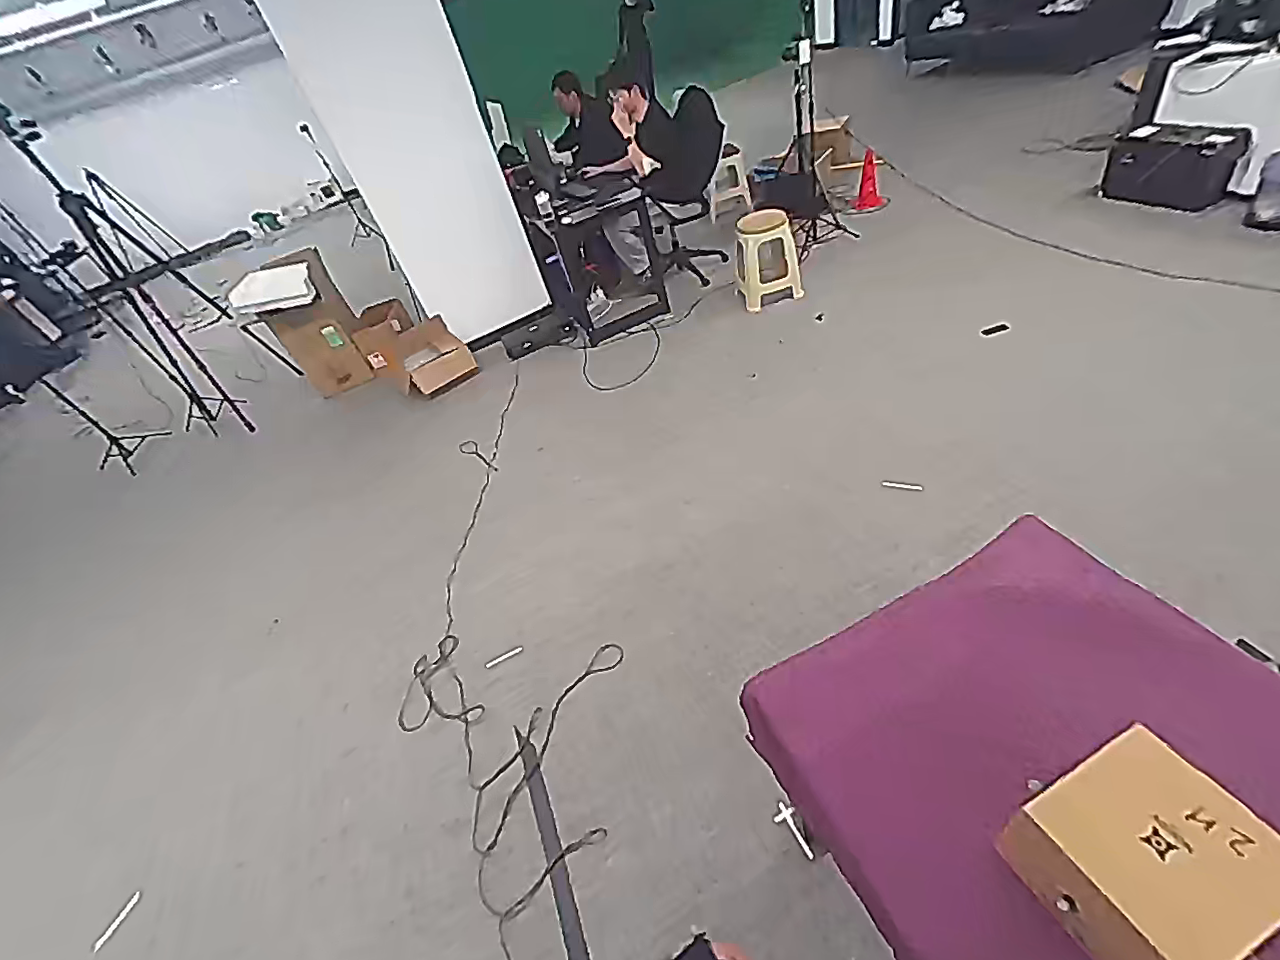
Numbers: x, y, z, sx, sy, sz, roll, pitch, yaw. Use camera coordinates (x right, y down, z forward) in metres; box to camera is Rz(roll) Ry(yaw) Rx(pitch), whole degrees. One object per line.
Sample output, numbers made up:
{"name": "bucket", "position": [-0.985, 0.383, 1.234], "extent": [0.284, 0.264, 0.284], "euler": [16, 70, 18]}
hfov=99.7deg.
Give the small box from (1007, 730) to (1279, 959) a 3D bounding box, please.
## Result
{"name": "small box", "position": [0.534, 0.416, 0.581], "extent": [0.179, 0.176, 0.168], "euler": [-27, 43, -9]}
